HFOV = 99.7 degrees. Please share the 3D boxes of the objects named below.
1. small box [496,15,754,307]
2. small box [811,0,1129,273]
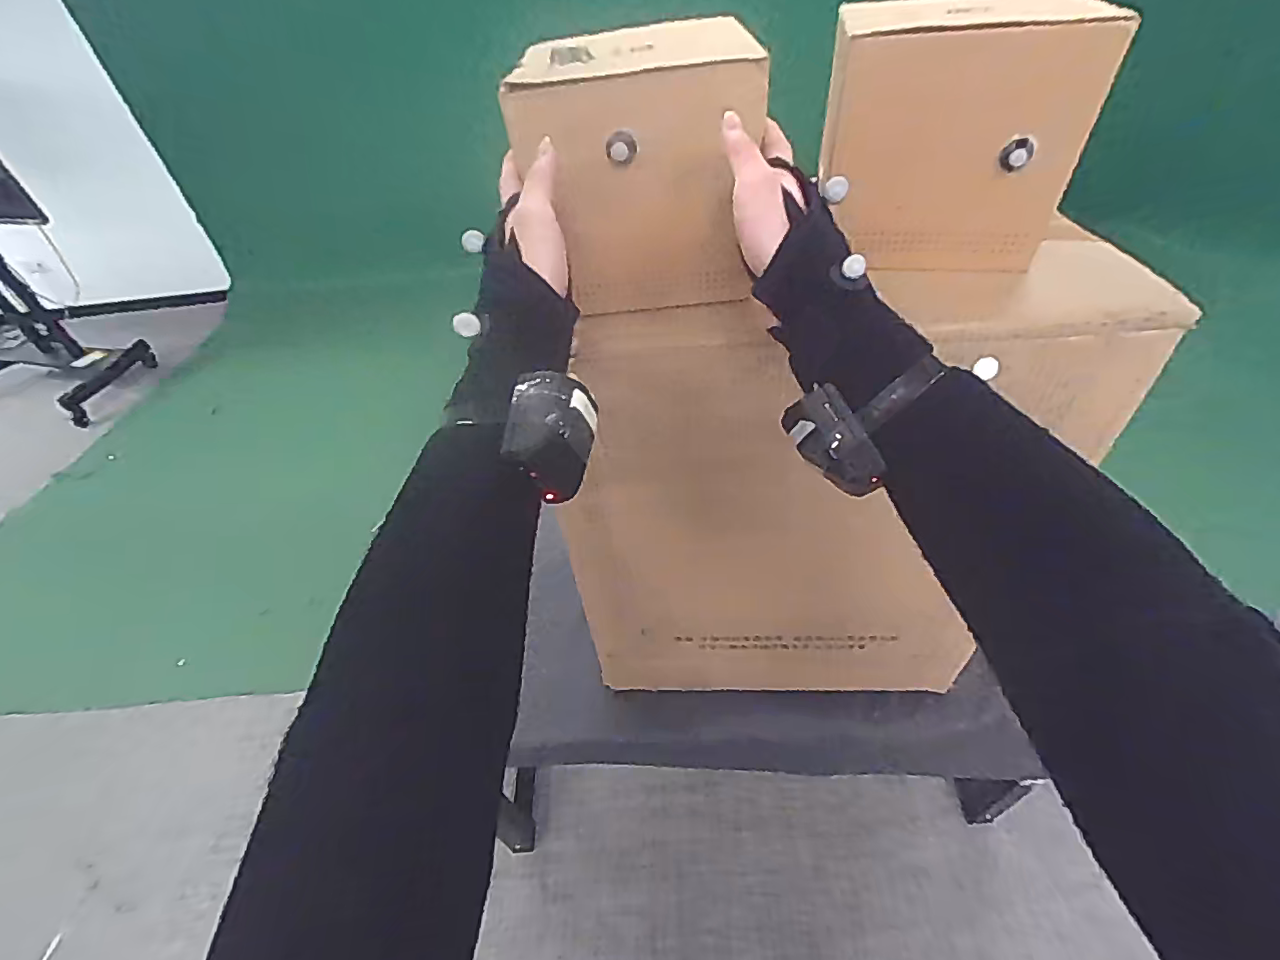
[{"bbox_3d":[0.003,-0.264,0.463,0.179,0.176,0.168,-2,49,7],"label":"small box"},{"bbox_3d":[0.253,-0.294,0.470,0.179,0.176,0.168,6,47,13],"label":"small box"}]
